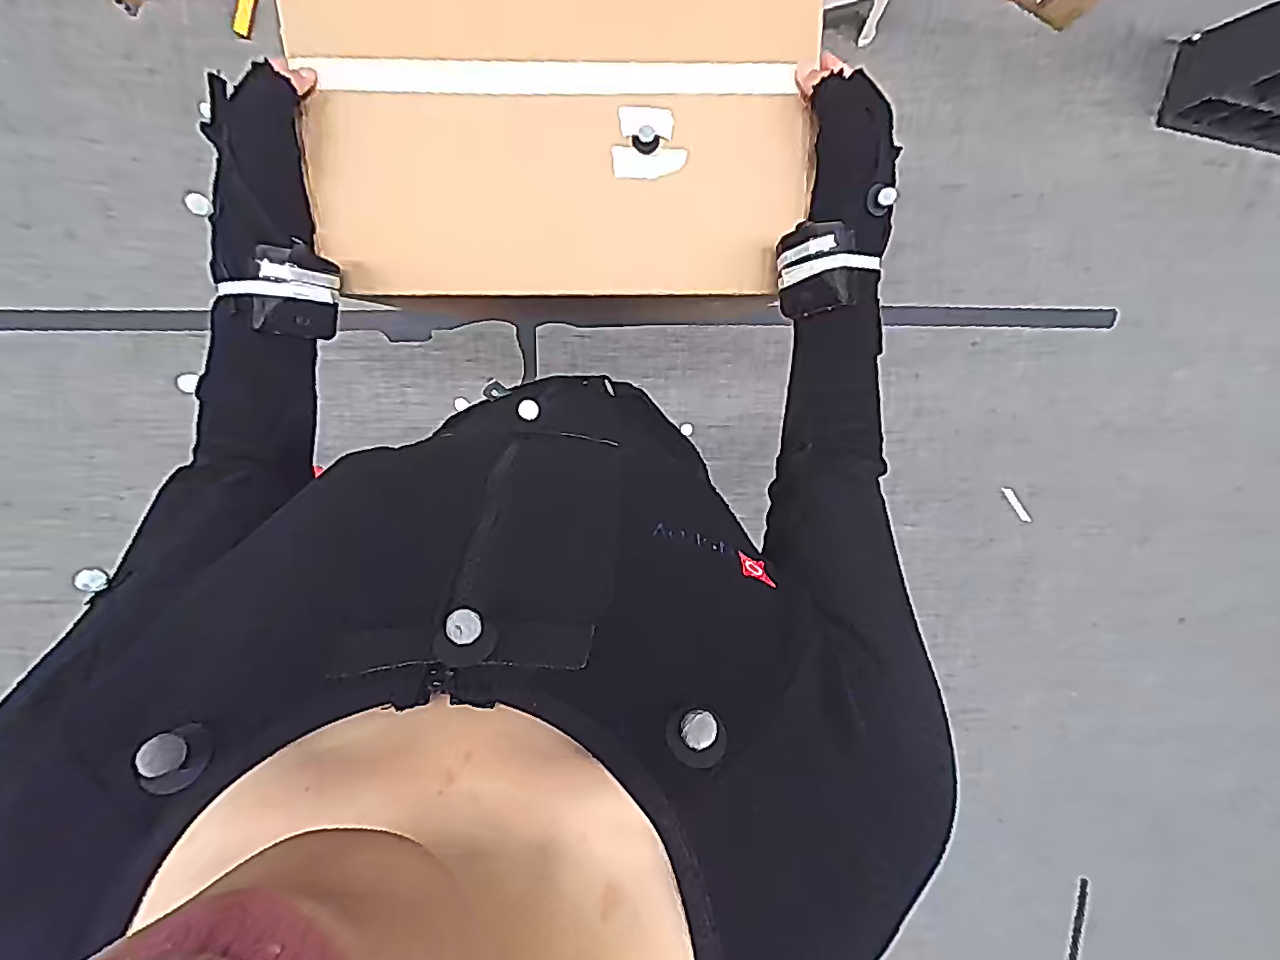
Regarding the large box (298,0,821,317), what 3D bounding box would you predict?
[{"bbox_3d":[-0.067,-0.346,0.567,0.408,0.320,0.320,-1,104,-3],"label":"large box"}]
